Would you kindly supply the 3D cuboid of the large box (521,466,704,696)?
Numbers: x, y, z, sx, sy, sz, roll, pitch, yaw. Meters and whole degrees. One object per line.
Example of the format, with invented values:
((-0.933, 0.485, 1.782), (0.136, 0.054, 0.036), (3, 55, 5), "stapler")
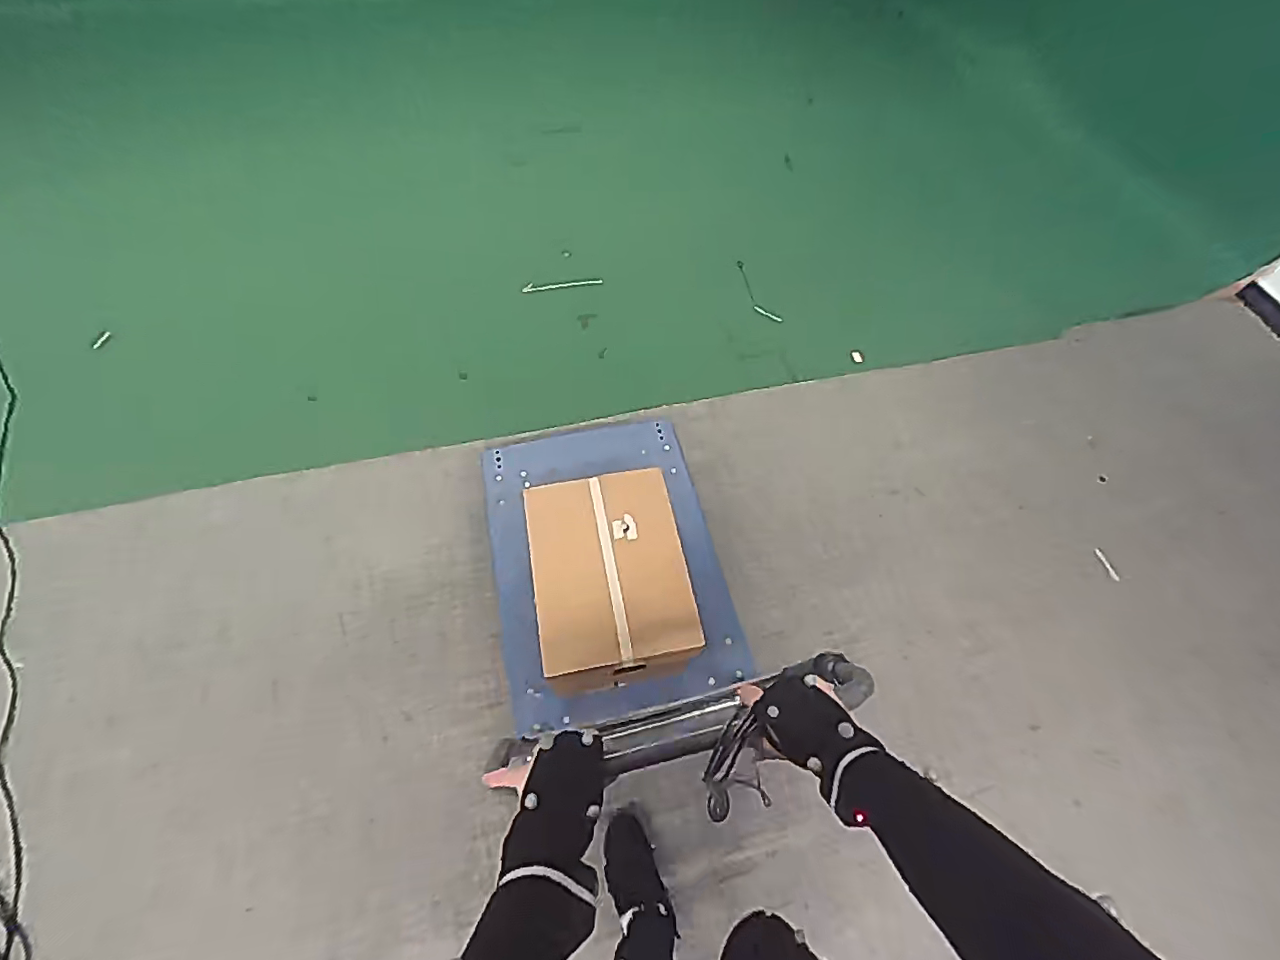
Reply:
((-0.072, 0.234, 1.230), (0.320, 0.320, 0.408), (-9, 62, -8), "large box")
